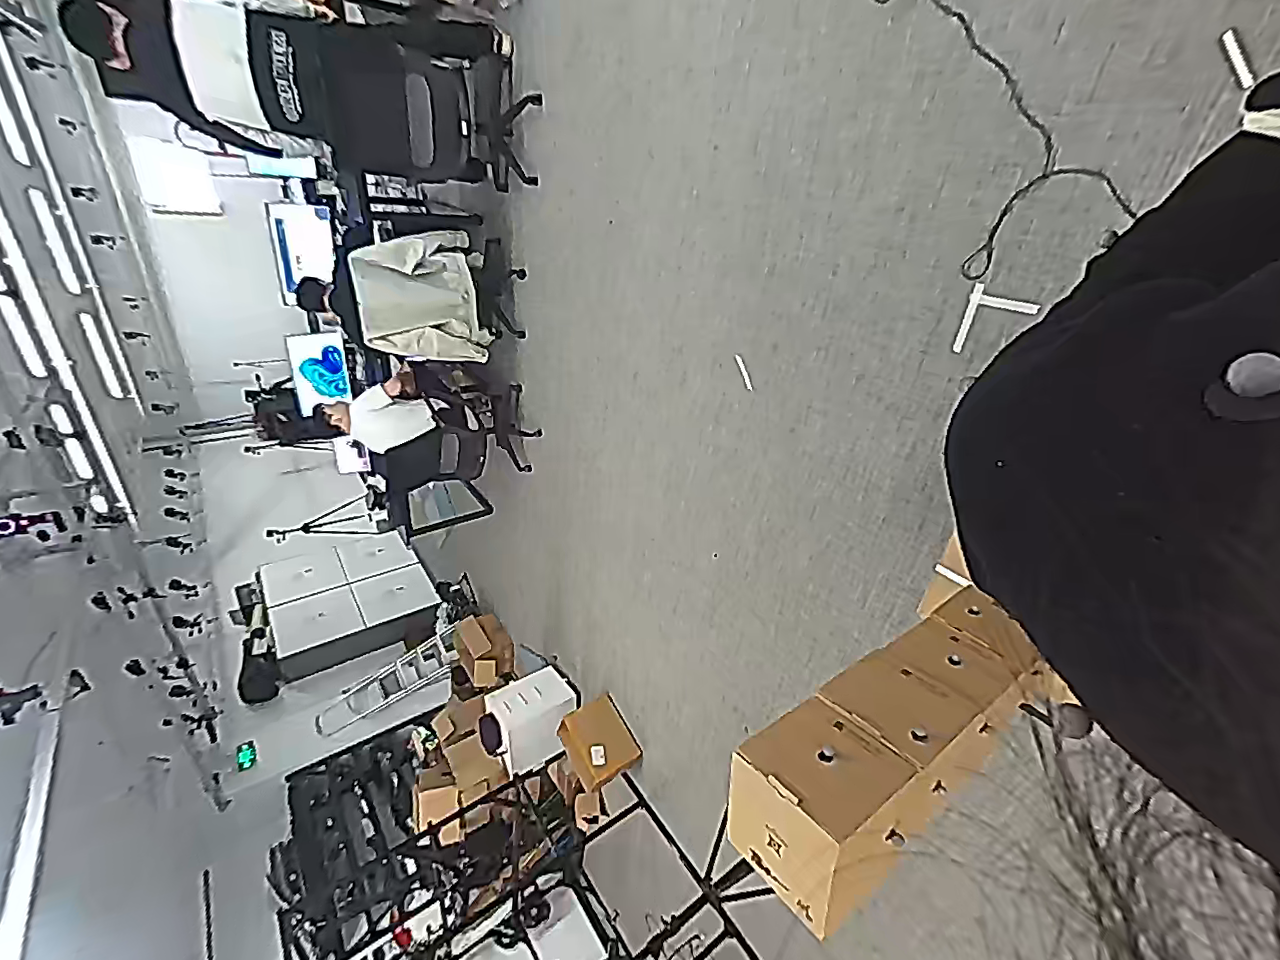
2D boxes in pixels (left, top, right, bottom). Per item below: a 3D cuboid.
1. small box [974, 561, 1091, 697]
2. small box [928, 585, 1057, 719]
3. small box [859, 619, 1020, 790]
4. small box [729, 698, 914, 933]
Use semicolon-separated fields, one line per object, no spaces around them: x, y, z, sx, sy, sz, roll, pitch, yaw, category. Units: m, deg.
0.769;0.295;1.101;0.168;0.176;0.179;35;130;43;small box
0.637;0.325;1.011;0.168;0.176;0.179;35;131;45;small box
0.507;0.367;0.919;0.168;0.176;0.179;31;127;48;small box
0.244;0.436;0.735;0.168;0.176;0.179;26;122;49;small box
